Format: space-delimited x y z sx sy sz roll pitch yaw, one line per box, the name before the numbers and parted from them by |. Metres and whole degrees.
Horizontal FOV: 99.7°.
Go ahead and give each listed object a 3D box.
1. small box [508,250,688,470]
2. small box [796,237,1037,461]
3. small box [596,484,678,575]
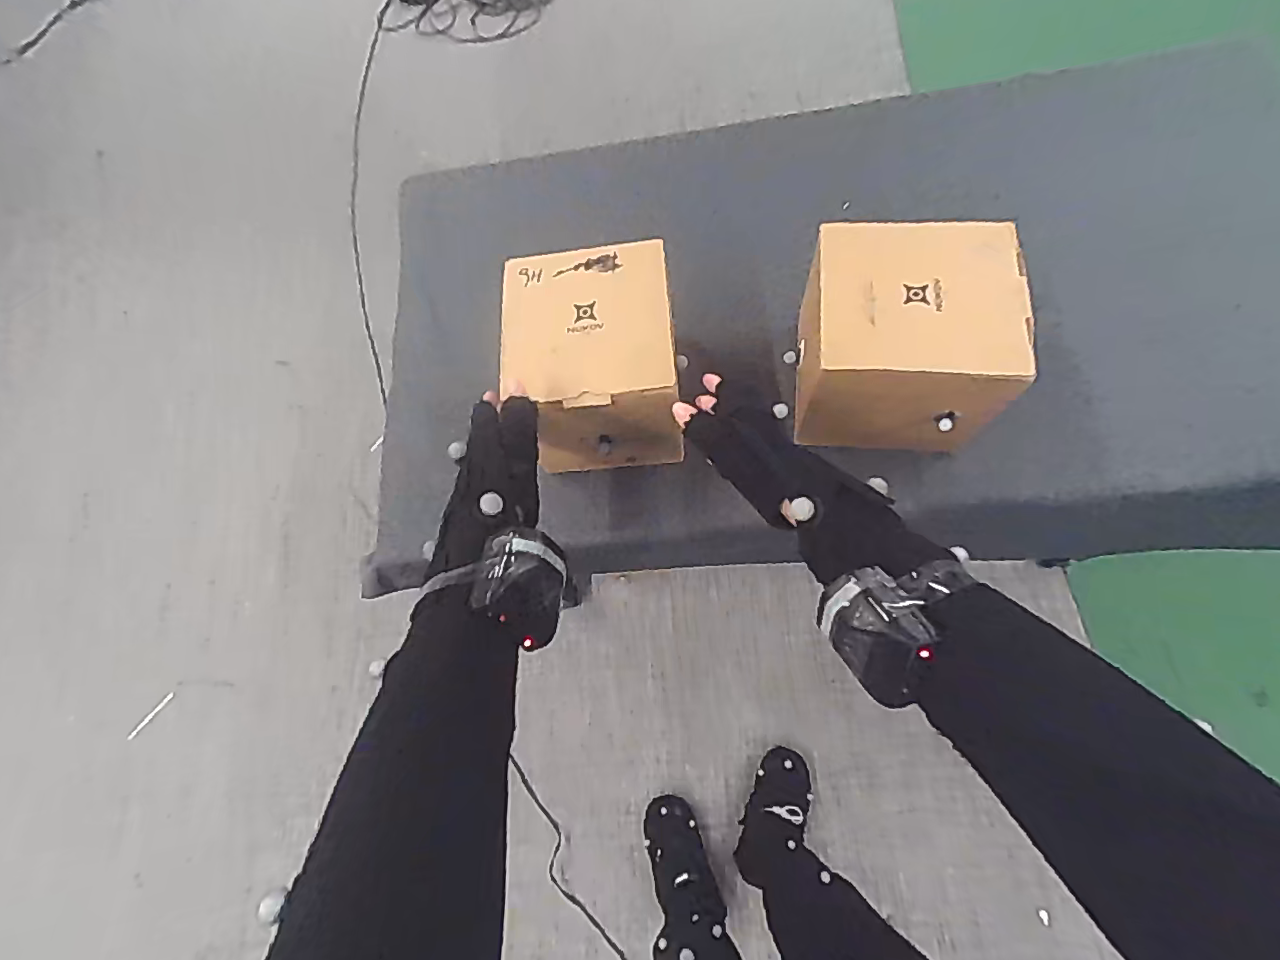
small box | -0.036 -0.117 0.598 0.168 0.176 0.179 -4 70 5
small box | 0.267 -0.126 0.565 0.179 0.176 0.168 4 70 10
small box | -0.003 0.126 1.288 0.168 0.176 0.179 -8 70 4
